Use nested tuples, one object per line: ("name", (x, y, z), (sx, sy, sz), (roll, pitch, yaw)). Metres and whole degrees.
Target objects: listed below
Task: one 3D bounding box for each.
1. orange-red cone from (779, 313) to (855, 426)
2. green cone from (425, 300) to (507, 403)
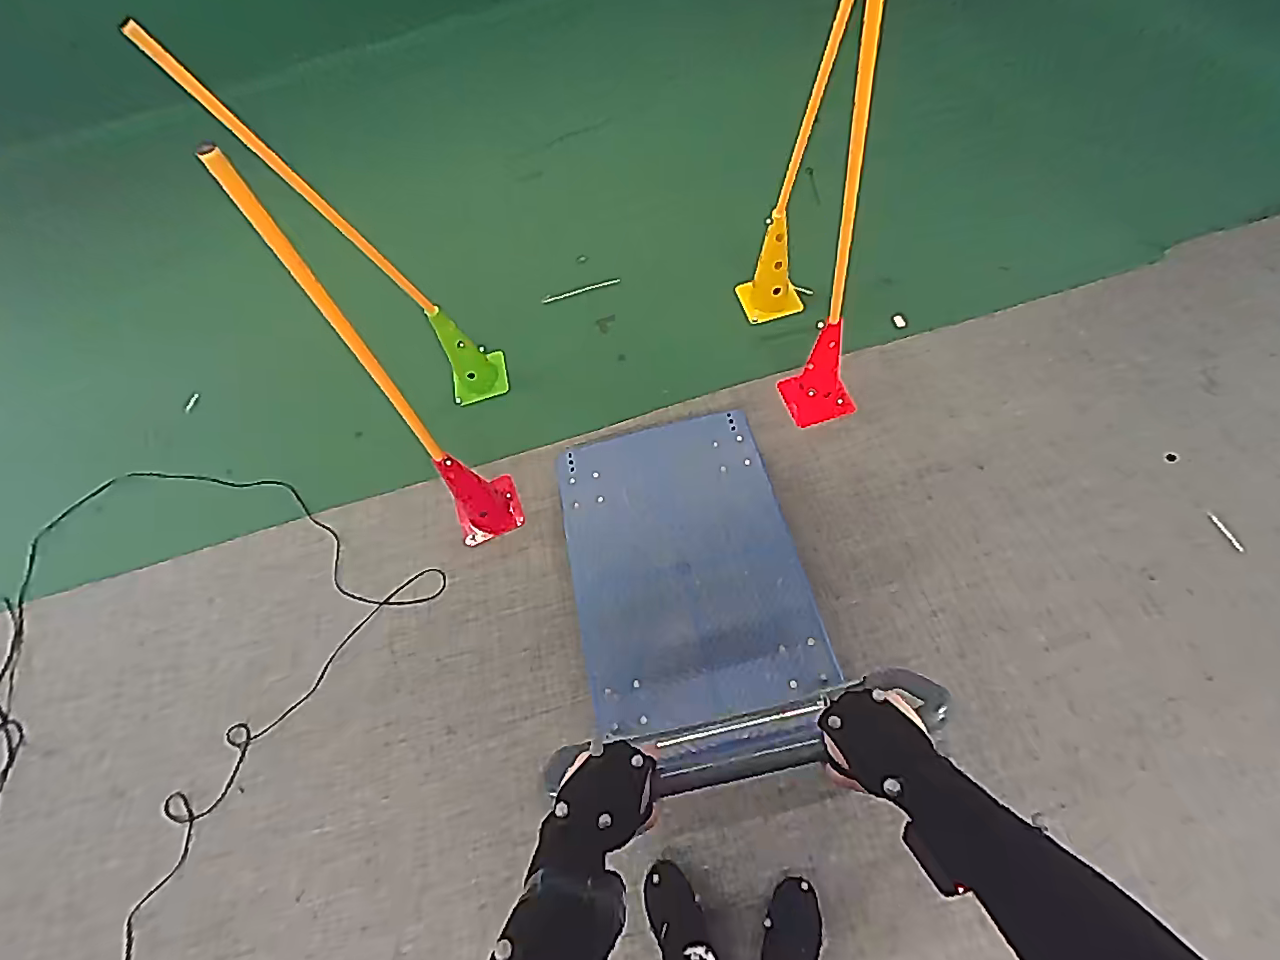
("orange-red cone", (0.546, -0.352, 1.597), (0.198, 0.360, 0.199), (-16, 60, 0))
("green cone", (-0.616, -0.459, 1.829), (0.200, 0.368, 0.202), (-17, 61, 1))
